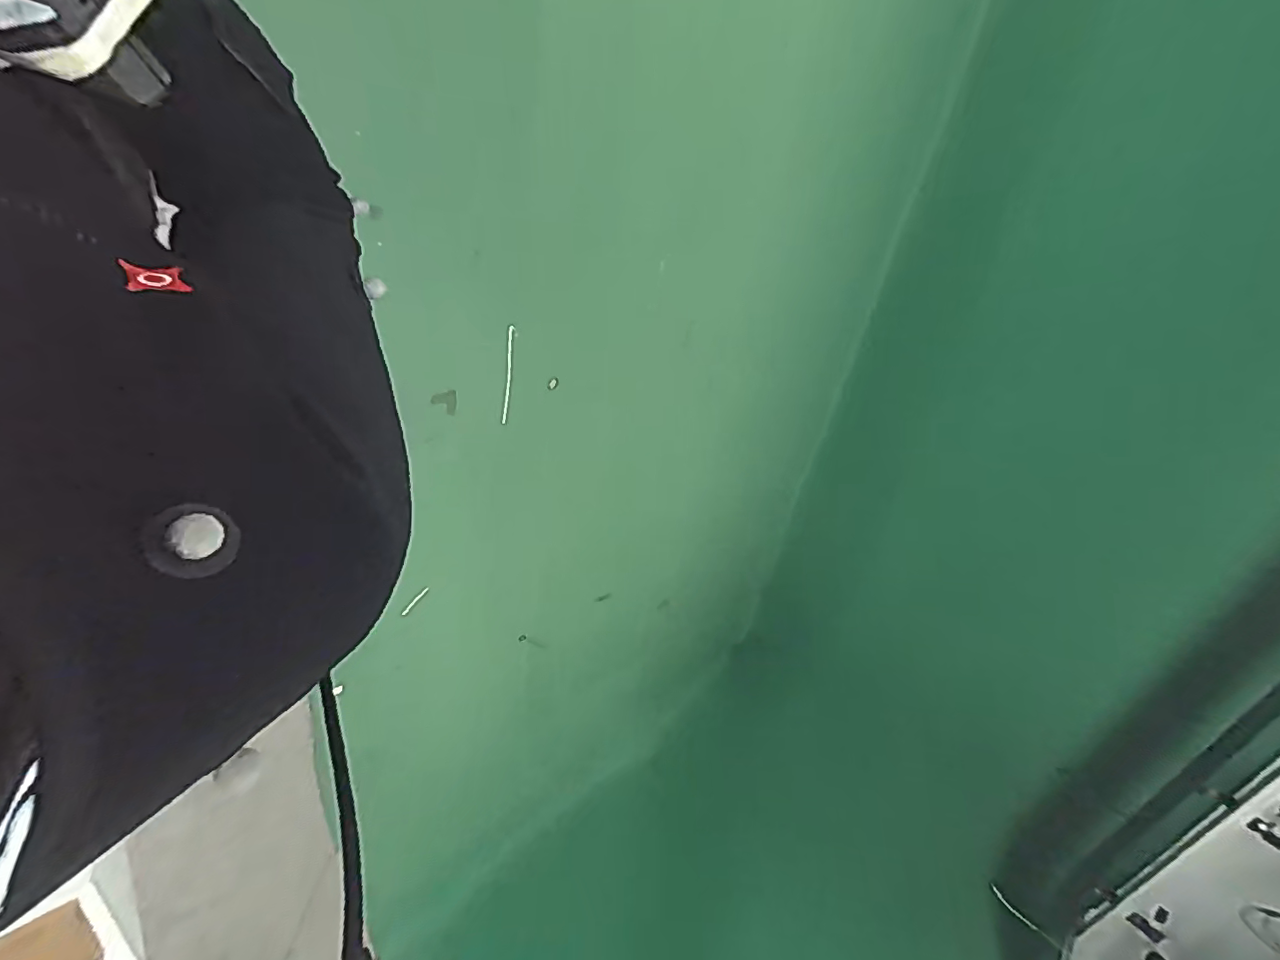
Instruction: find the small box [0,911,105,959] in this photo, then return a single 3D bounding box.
[{"bbox_3d":[-0.875,0.764,0.758,0.168,0.176,0.179,-14,130,-42],"label":"small box"}]
